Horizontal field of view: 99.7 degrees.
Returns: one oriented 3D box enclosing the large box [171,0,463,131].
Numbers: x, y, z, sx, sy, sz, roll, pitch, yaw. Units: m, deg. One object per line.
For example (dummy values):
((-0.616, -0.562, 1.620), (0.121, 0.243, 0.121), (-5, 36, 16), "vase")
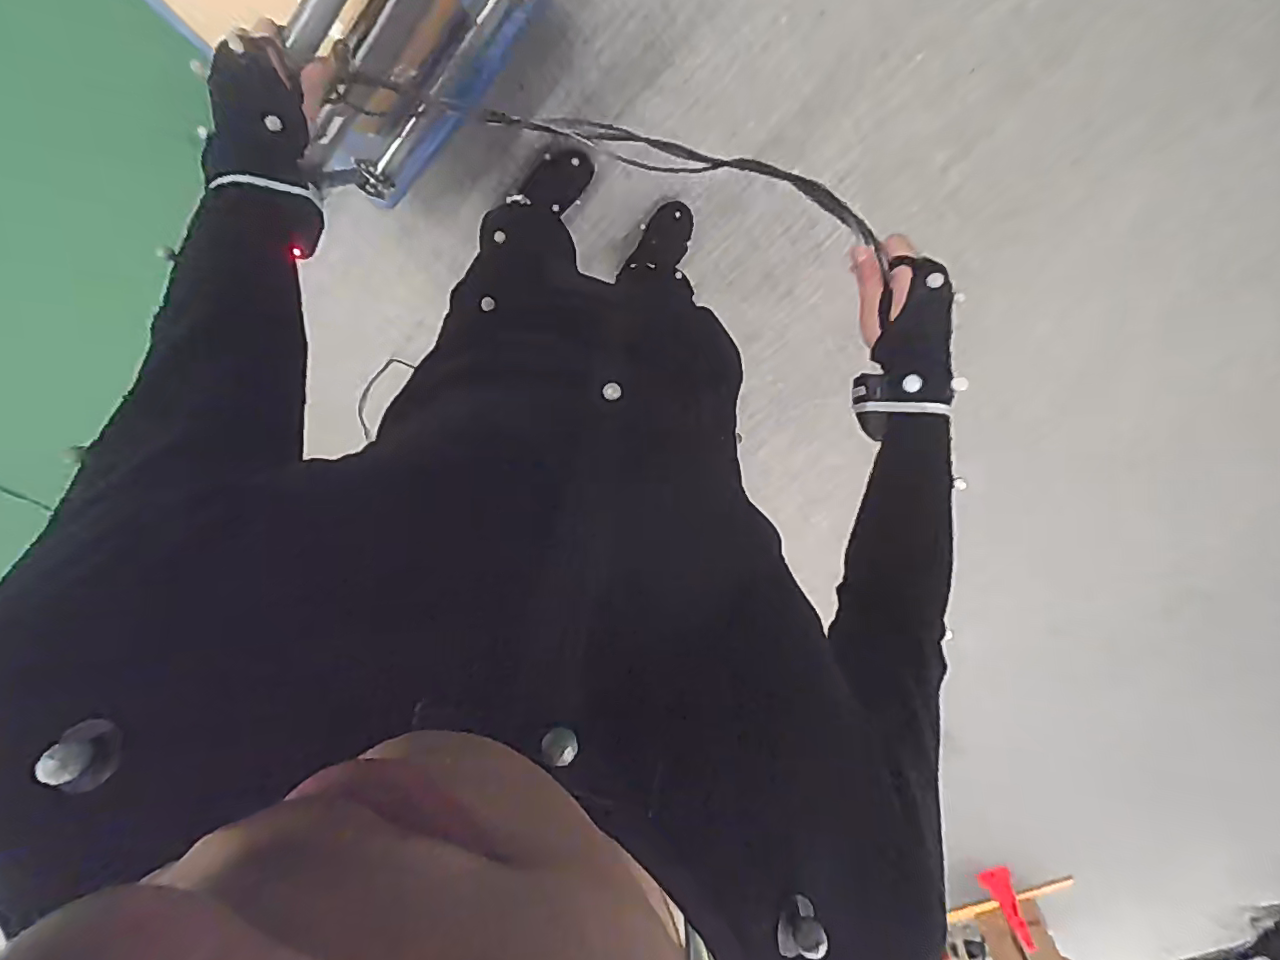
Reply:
((-0.576, -0.867, 0.886), (0.320, 0.320, 0.408), (-39, 113, 18), "large box")
